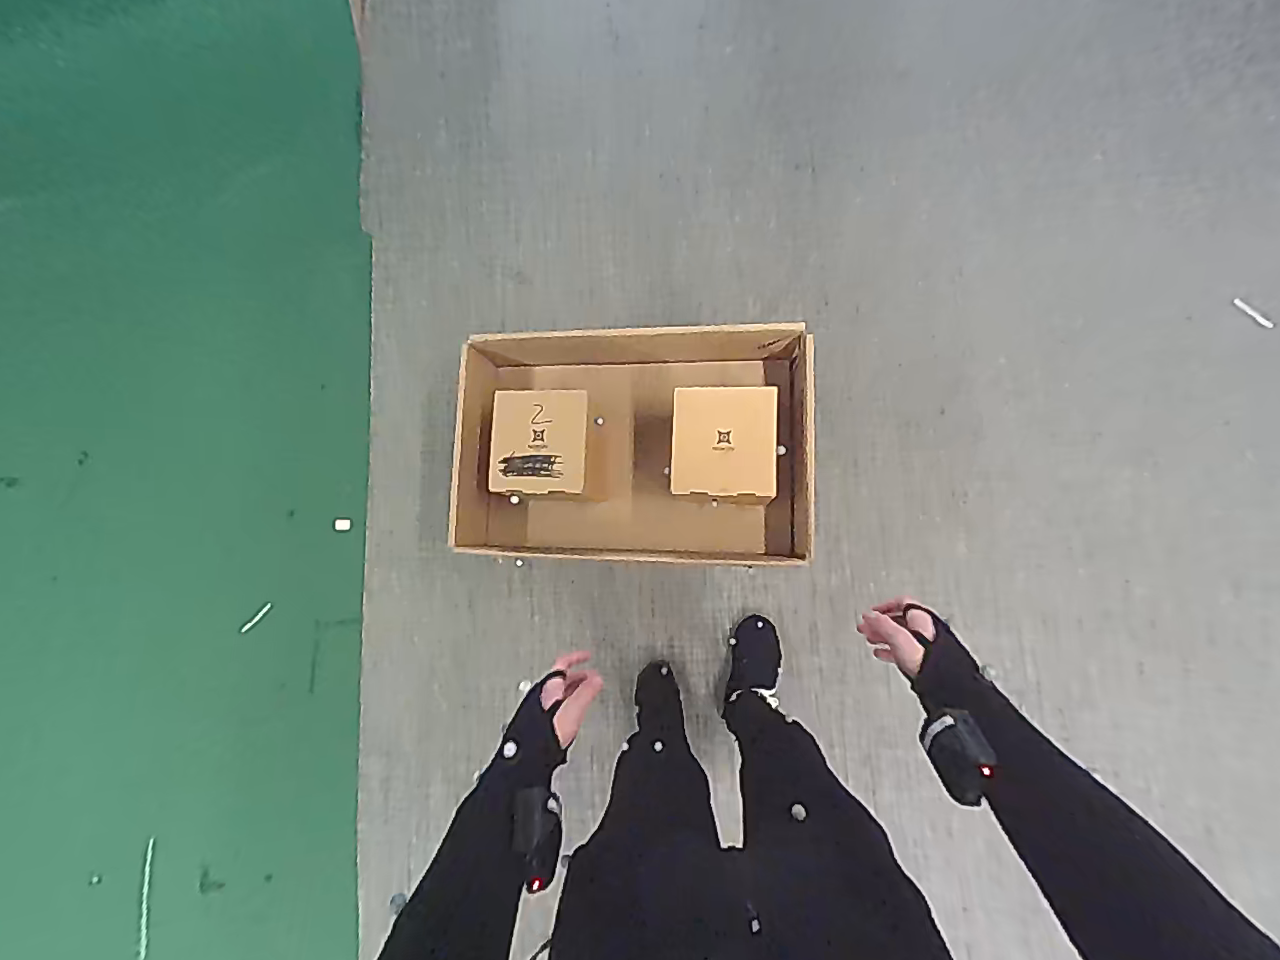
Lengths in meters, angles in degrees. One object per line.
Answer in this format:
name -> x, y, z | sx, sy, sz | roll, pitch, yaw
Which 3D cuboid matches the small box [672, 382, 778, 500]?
small box -> 0.145, -0.060, 0.932 | 0.168, 0.176, 0.179 | 1, 85, 9
